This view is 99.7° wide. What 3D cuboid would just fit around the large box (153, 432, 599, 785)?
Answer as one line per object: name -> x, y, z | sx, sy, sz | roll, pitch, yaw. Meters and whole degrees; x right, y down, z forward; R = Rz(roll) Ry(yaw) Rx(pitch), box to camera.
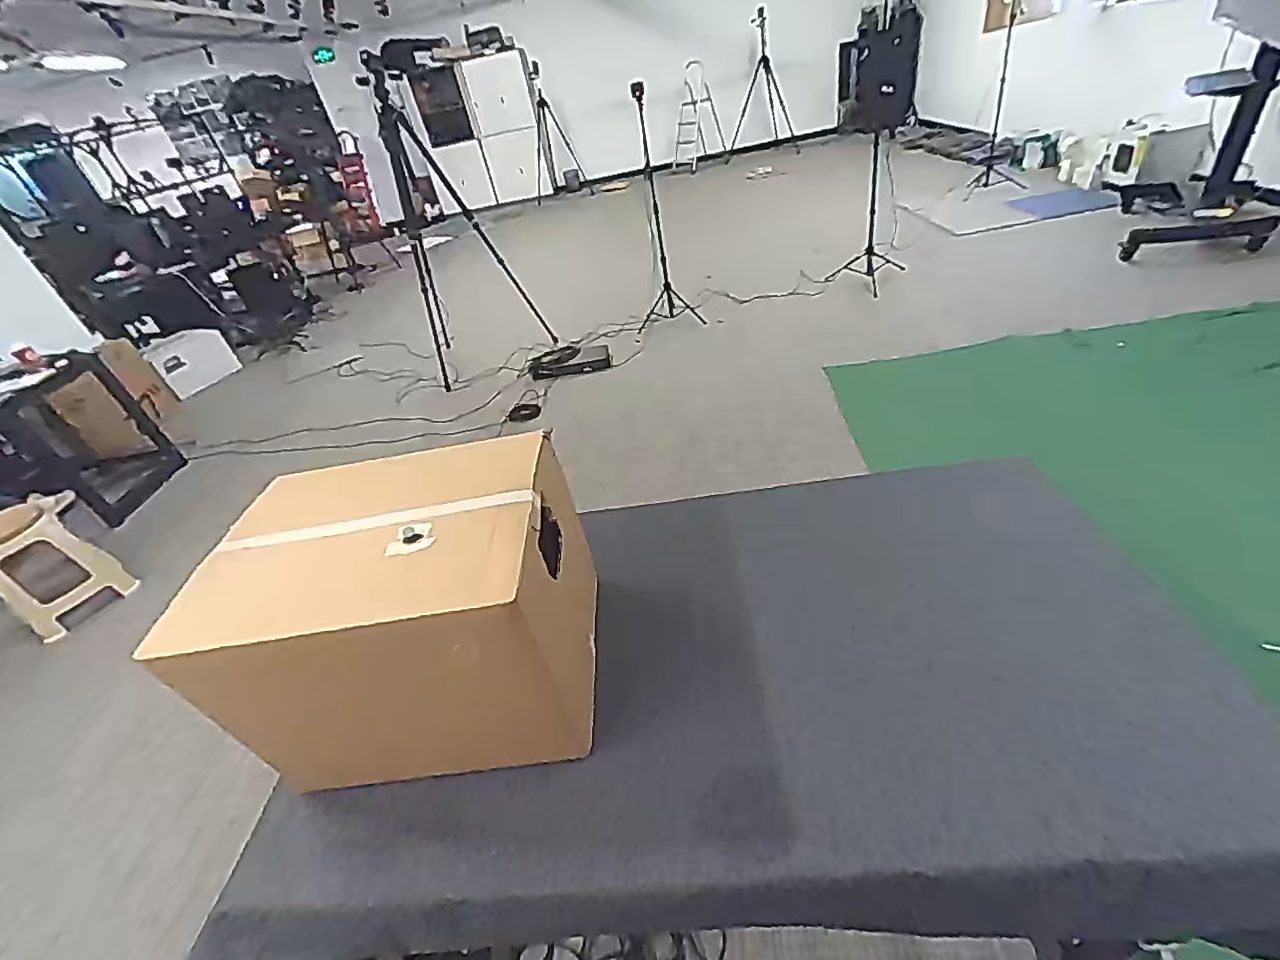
large box -> -0.284, 0.170, 0.741 | 0.408, 0.320, 0.320 | -9, 37, 3
